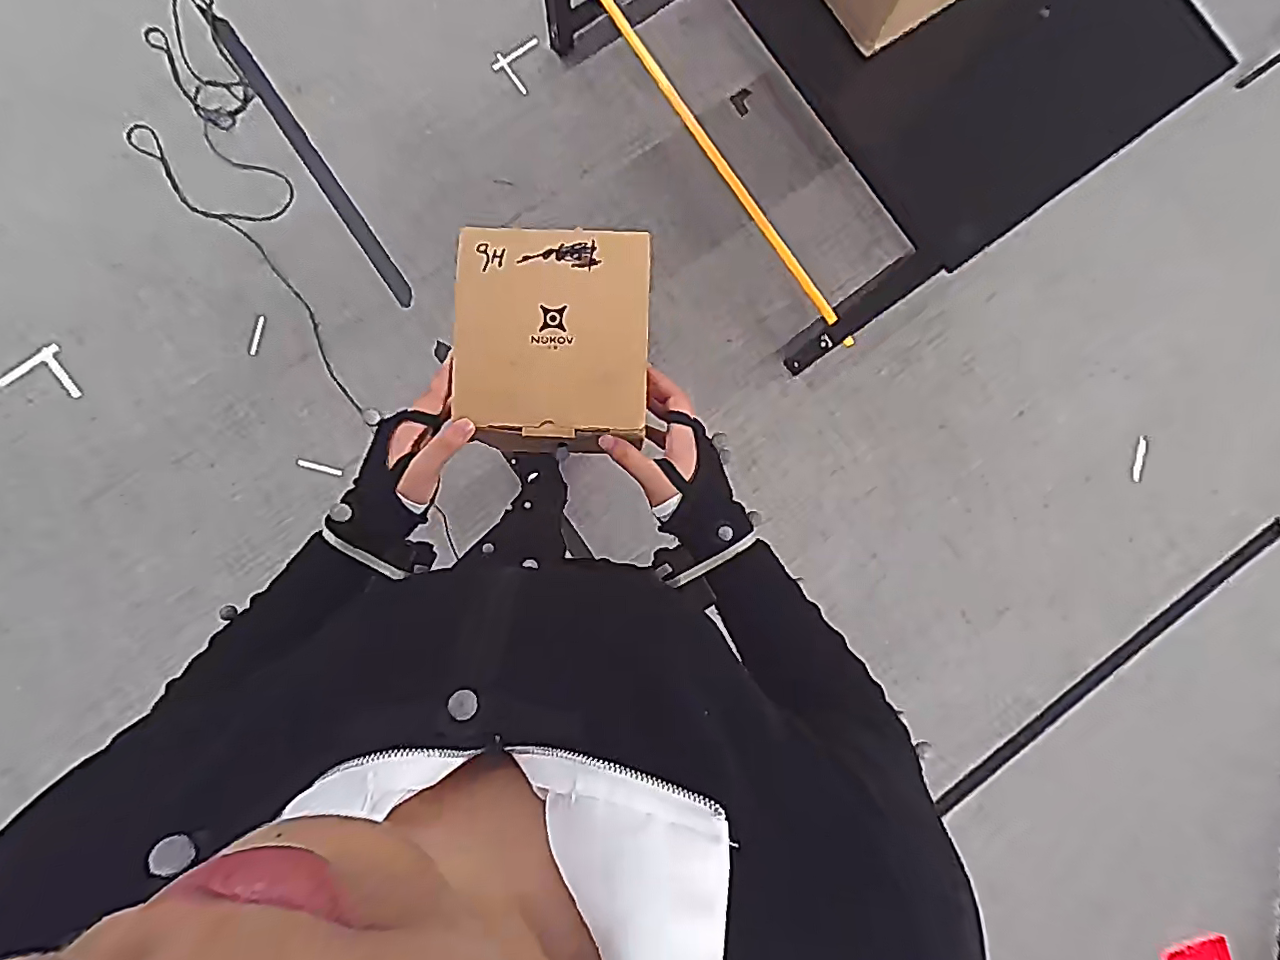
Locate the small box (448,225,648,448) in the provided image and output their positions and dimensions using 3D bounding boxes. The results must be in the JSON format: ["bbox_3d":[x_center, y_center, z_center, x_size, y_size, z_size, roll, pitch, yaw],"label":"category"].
[{"bbox_3d":[-0.077,-0.125,0.534,0.168,0.176,0.179,1,88,0],"label":"small box"}]
